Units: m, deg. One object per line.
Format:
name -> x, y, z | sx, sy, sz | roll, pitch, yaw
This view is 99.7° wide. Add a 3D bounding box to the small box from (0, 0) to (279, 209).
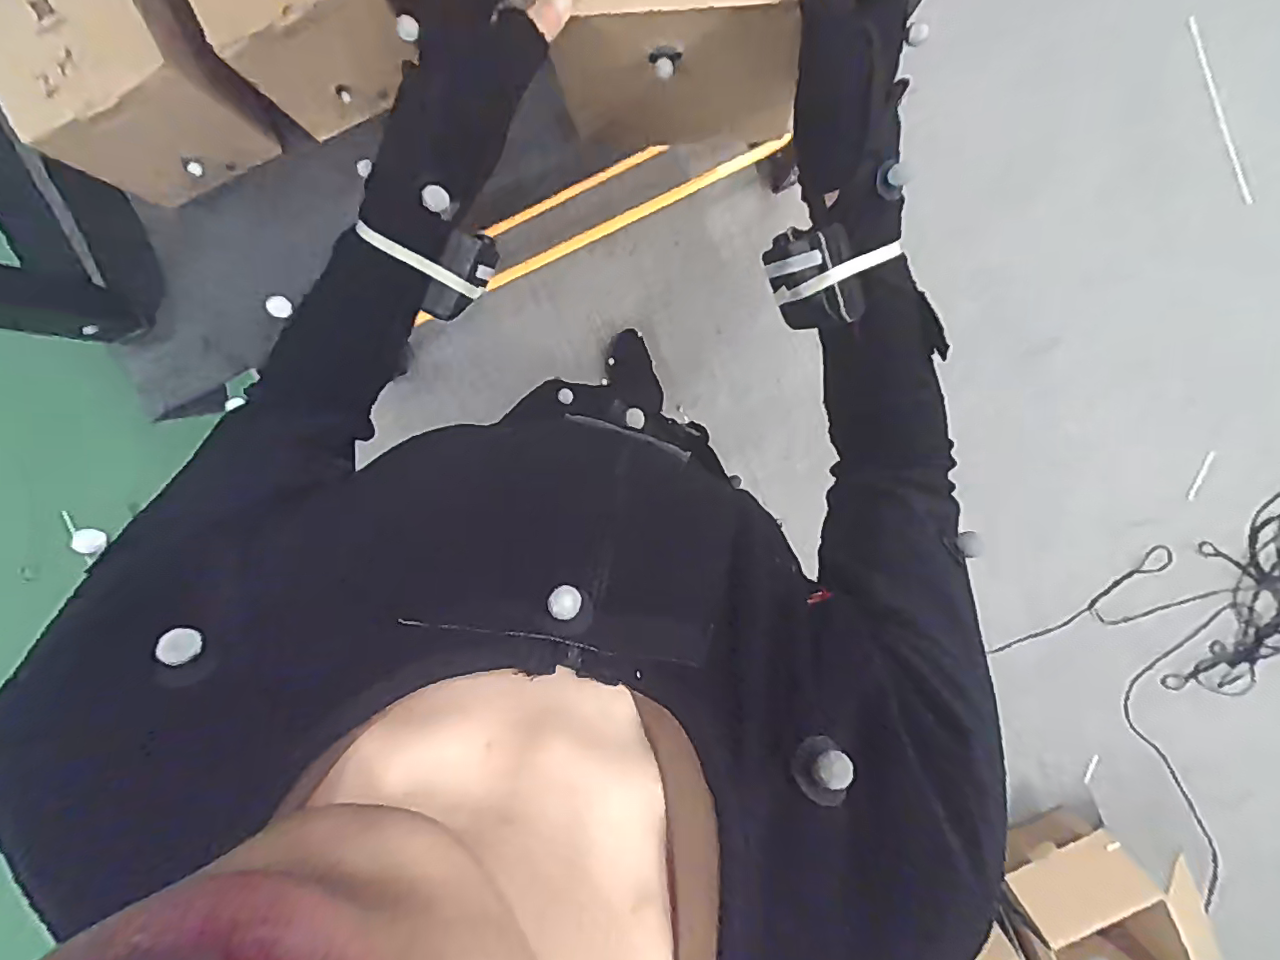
small box -> -0.553, -0.438, 0.592 | 0.168, 0.176, 0.179 | -24, 96, 2
